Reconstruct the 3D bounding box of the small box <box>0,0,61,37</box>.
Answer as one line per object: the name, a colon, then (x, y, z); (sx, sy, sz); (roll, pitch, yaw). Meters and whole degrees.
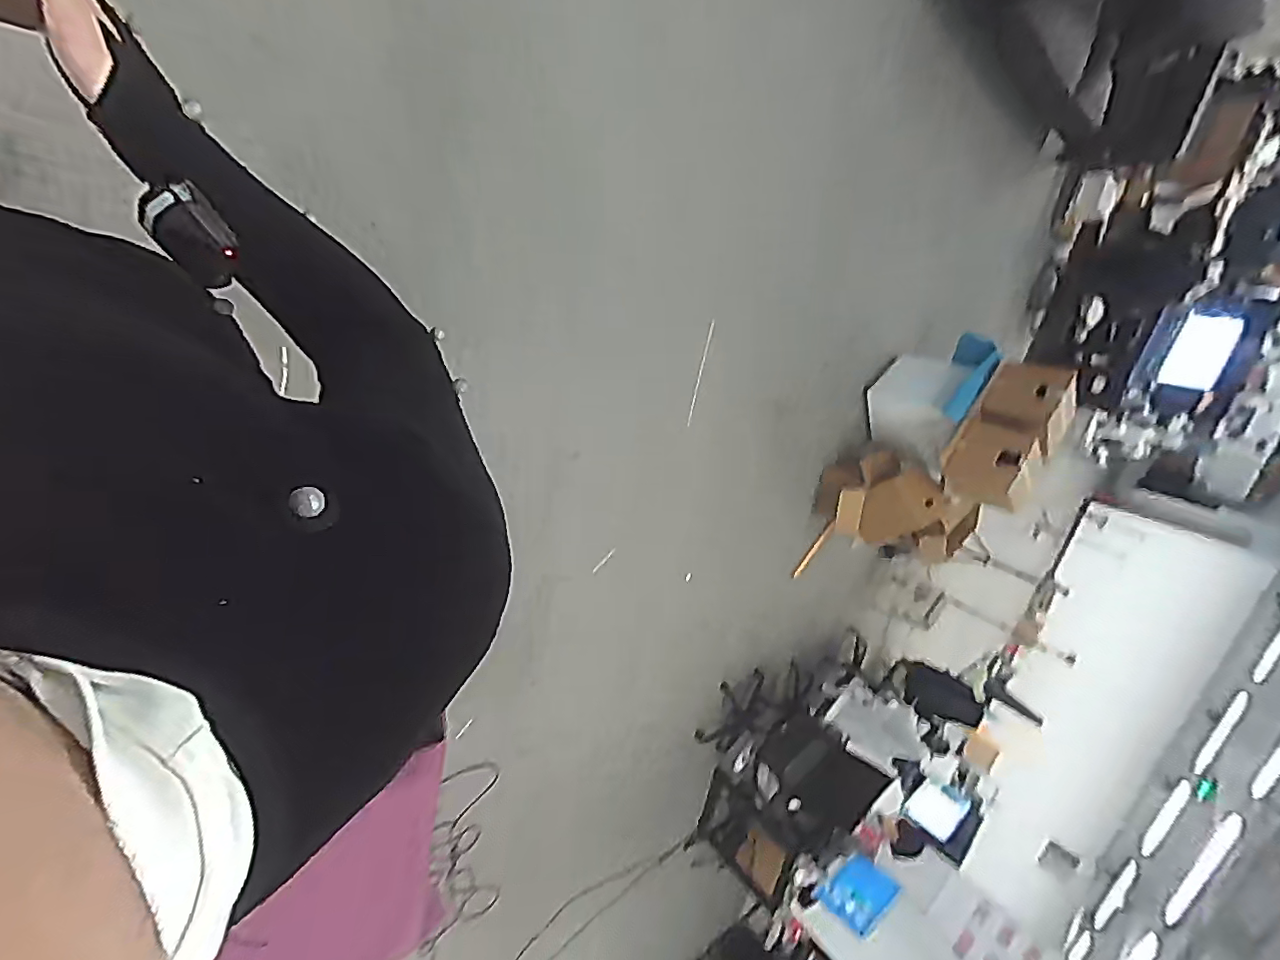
small box: (-0.507, -0.433, 0.341); (0.168, 0.176, 0.179); (-8, 113, -39)
